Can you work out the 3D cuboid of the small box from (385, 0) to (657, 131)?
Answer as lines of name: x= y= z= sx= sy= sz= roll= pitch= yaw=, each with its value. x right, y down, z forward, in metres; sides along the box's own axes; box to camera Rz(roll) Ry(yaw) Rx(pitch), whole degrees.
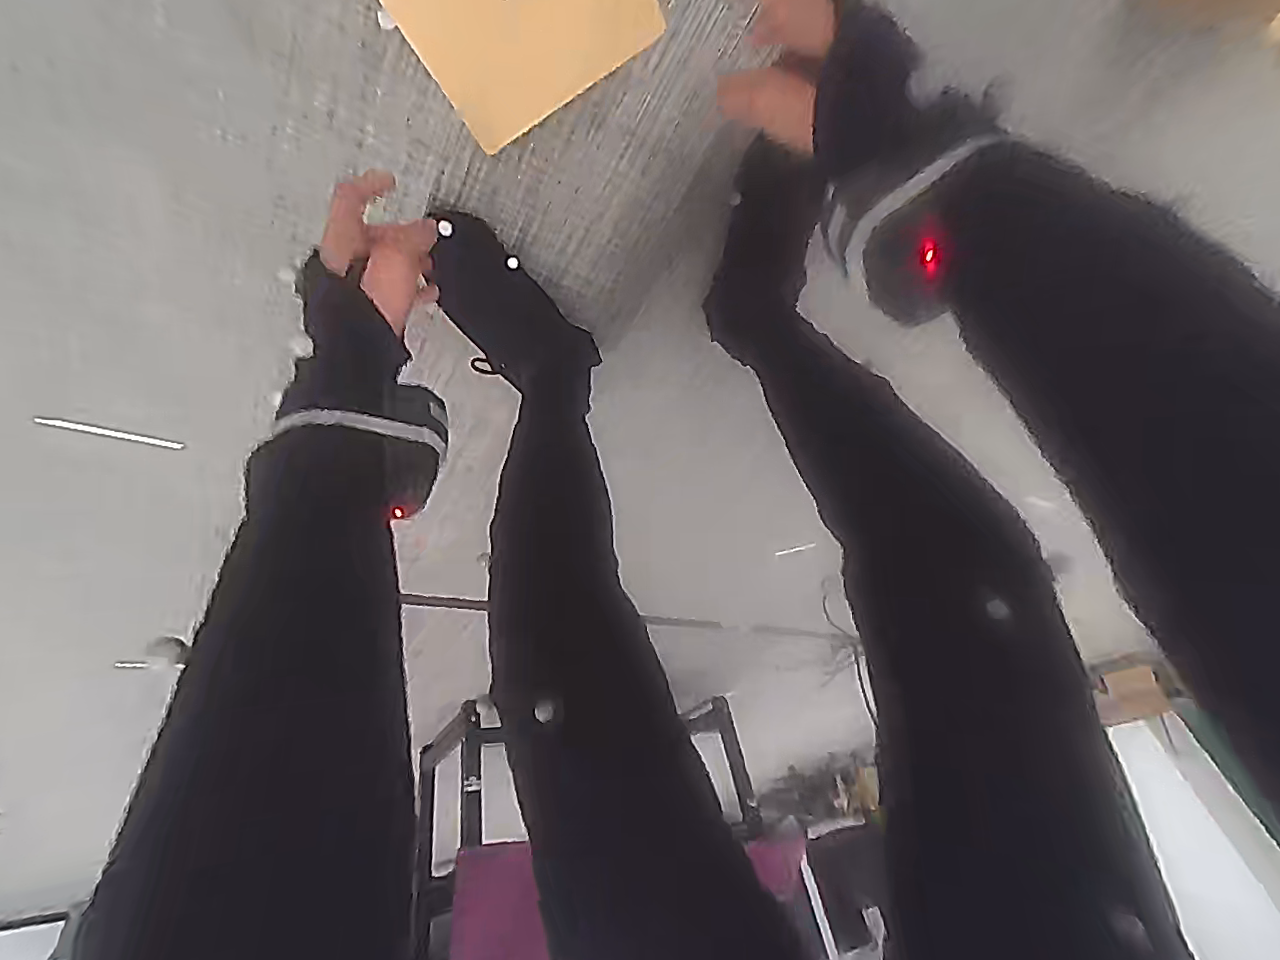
small box: x=-0.106 y=-0.406 z=0.383 sx=0.168 sy=0.176 sz=0.179 roll=-24 pitch=143 yaw=14
